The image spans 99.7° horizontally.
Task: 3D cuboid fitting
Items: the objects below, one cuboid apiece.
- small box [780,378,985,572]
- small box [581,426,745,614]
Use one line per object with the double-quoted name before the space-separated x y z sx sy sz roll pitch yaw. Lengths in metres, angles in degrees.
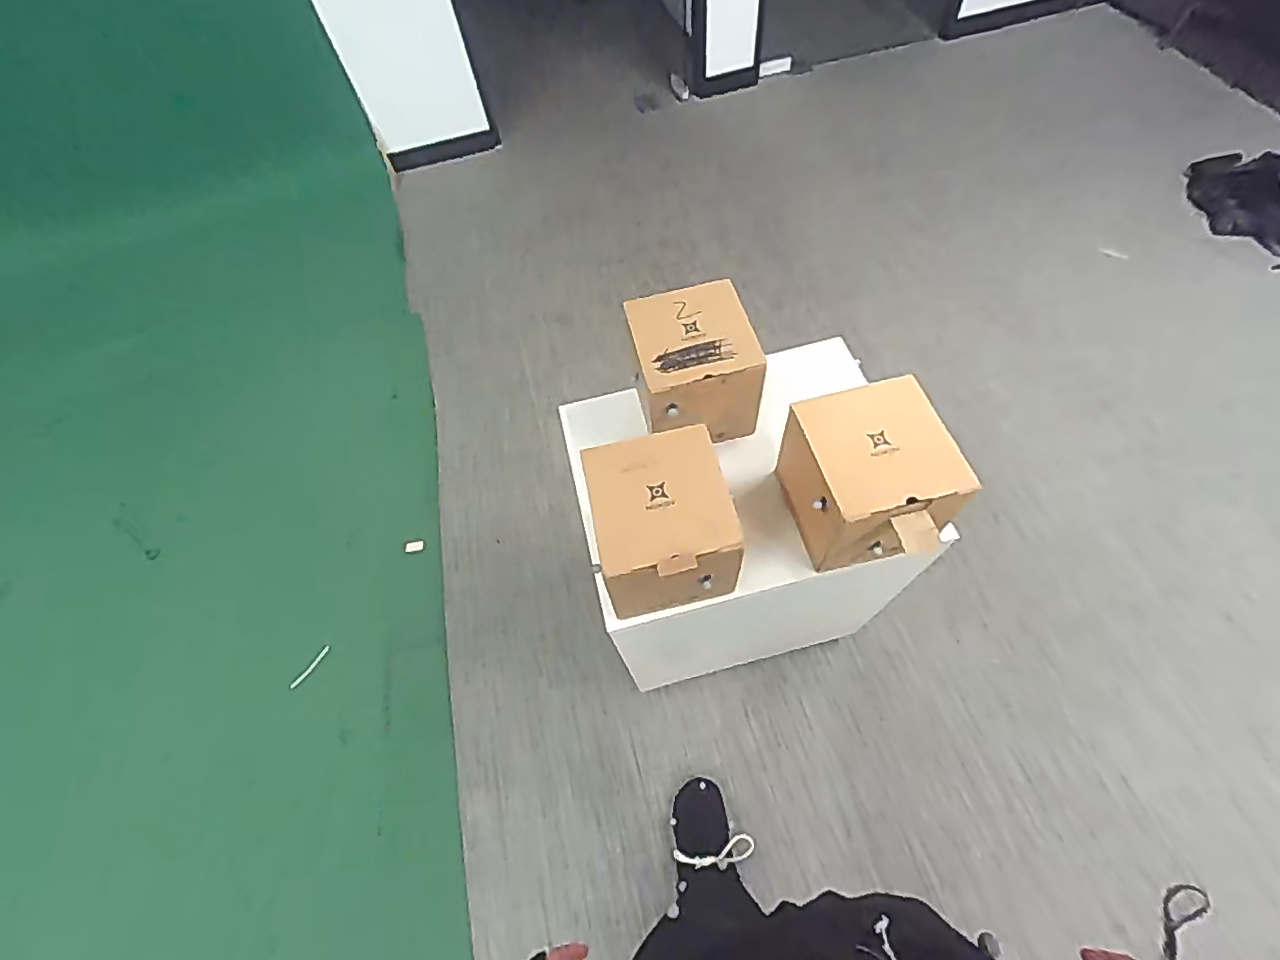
"small box" 0.297 -0.002 0.714 0.168 0.176 0.179 -14 60 -2
"small box" 0.028 0.061 0.704 0.168 0.176 0.179 -12 58 -4
